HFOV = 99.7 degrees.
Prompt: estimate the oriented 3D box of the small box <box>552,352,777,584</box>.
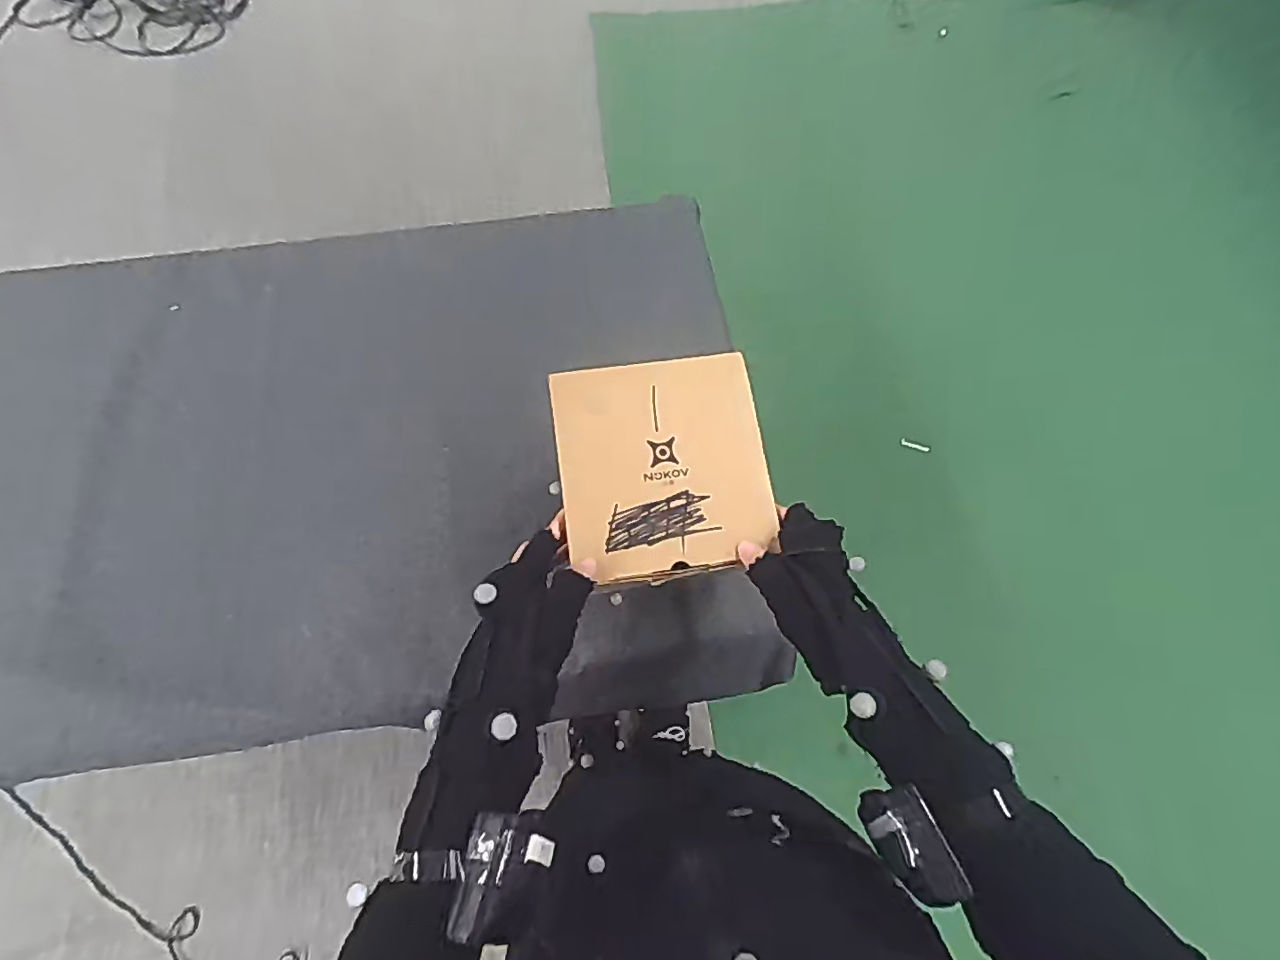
[{"bbox_3d":[0.015,0.002,0.515,0.168,0.176,0.179,-7,76,-4],"label":"small box"}]
